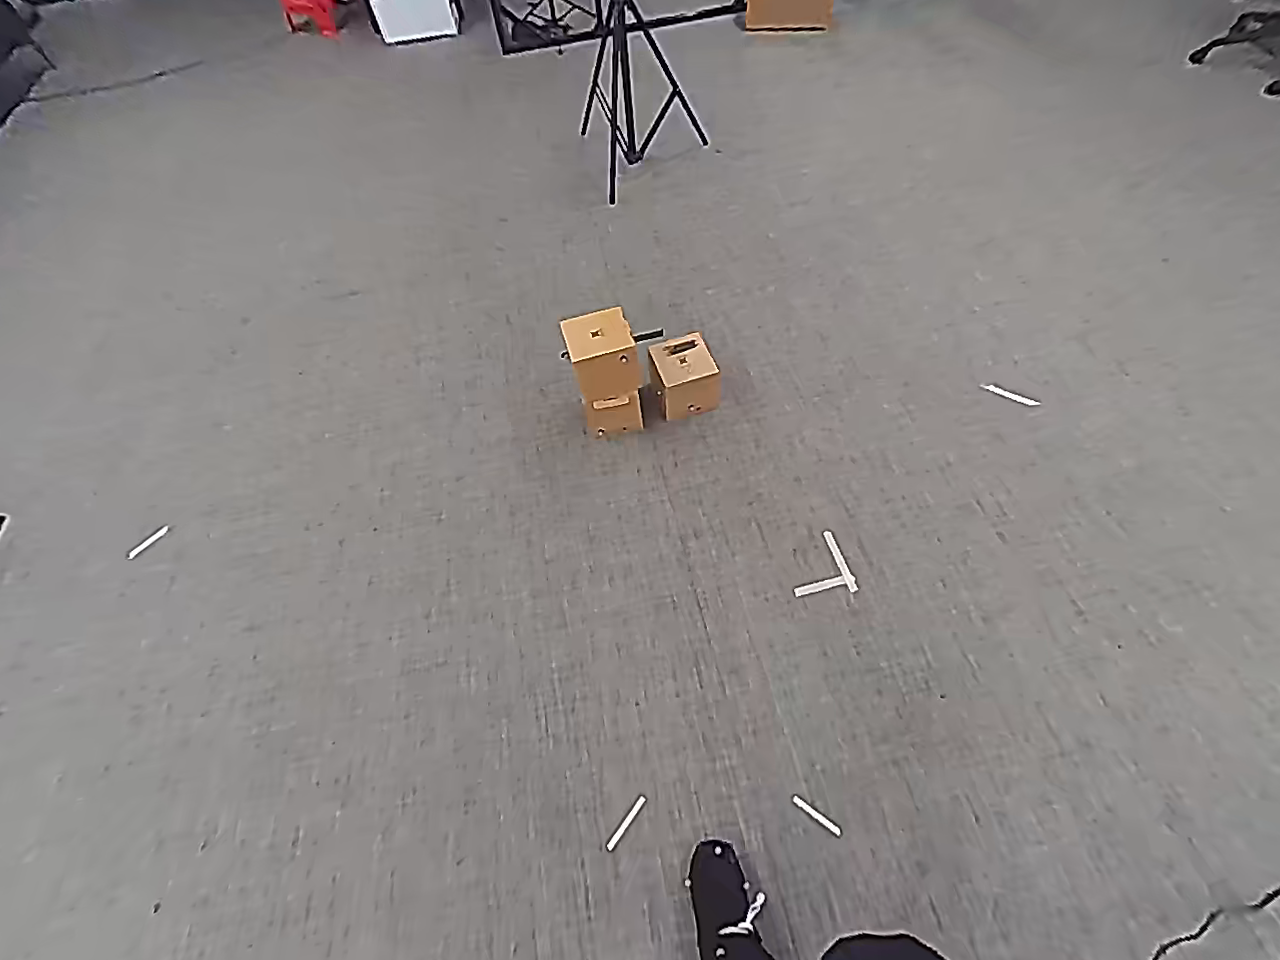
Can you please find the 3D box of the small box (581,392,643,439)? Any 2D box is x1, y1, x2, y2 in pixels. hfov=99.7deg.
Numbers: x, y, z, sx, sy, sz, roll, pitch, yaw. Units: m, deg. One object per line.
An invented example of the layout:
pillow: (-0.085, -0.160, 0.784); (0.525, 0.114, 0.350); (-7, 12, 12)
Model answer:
small box: (-0.088, -0.242, 1.648); (0.168, 0.176, 0.179); (-11, 57, -1)

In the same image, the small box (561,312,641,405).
small box: (-0.107, -0.333, 1.515); (0.179, 0.176, 0.168); (-16, 58, -5)
